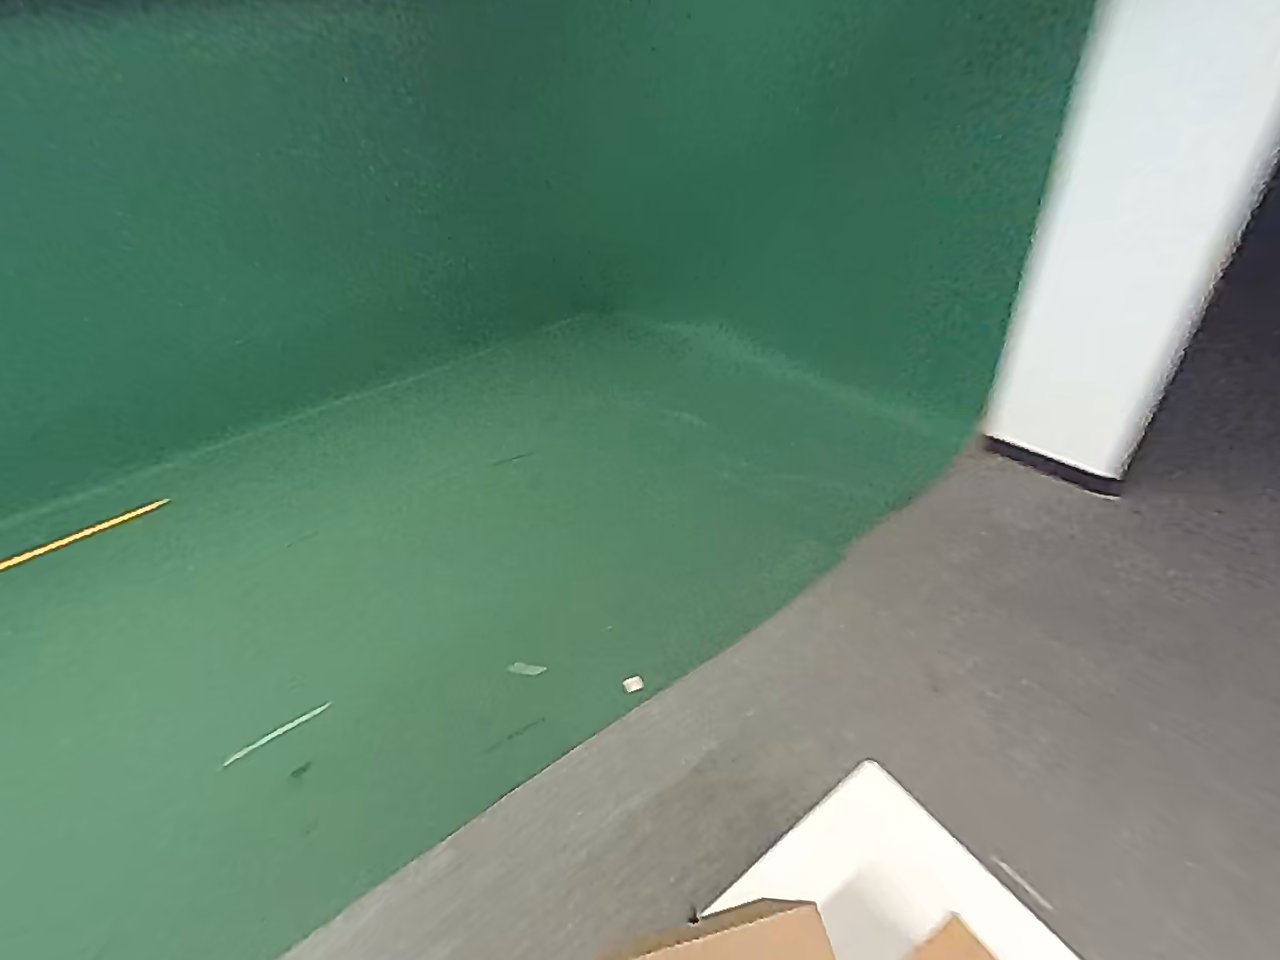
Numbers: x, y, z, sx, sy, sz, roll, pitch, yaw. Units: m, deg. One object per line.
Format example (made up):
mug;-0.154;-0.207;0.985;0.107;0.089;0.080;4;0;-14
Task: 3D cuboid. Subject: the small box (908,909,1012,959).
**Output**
small box;0.327;0.596;0.547;0.179;0.176;0.168;-25;39;-19
